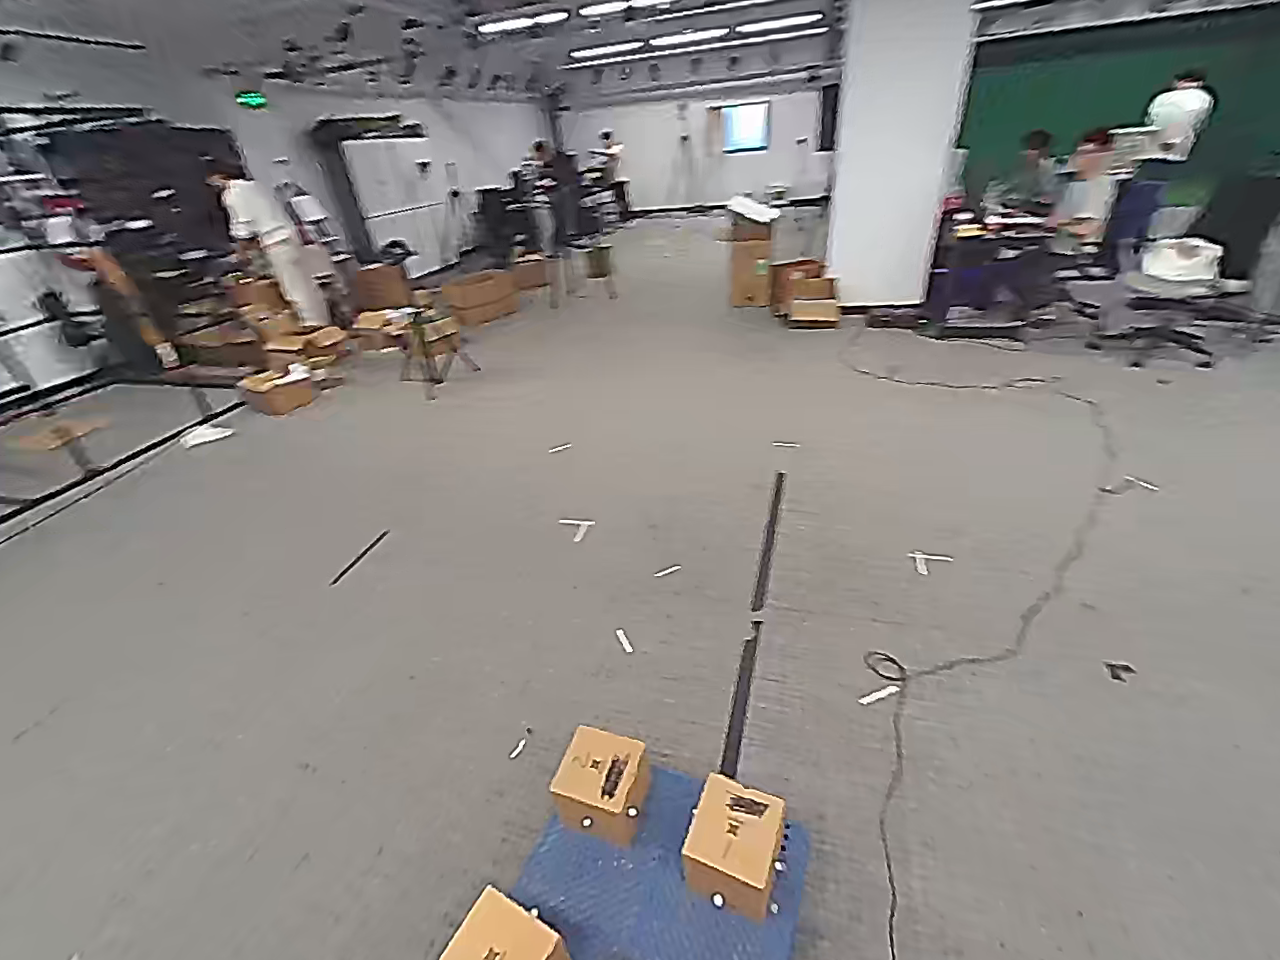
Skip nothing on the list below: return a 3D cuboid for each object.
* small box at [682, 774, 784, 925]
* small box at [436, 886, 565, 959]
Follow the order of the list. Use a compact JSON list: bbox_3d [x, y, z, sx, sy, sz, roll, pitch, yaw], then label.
[{"bbox_3d":[0.196,0.770,1.132,0.168,0.176,0.179,10,37,24],"label":"small box"},{"bbox_3d":[-0.256,0.910,0.993,0.179,0.176,0.168,14,37,26],"label":"small box"}]
